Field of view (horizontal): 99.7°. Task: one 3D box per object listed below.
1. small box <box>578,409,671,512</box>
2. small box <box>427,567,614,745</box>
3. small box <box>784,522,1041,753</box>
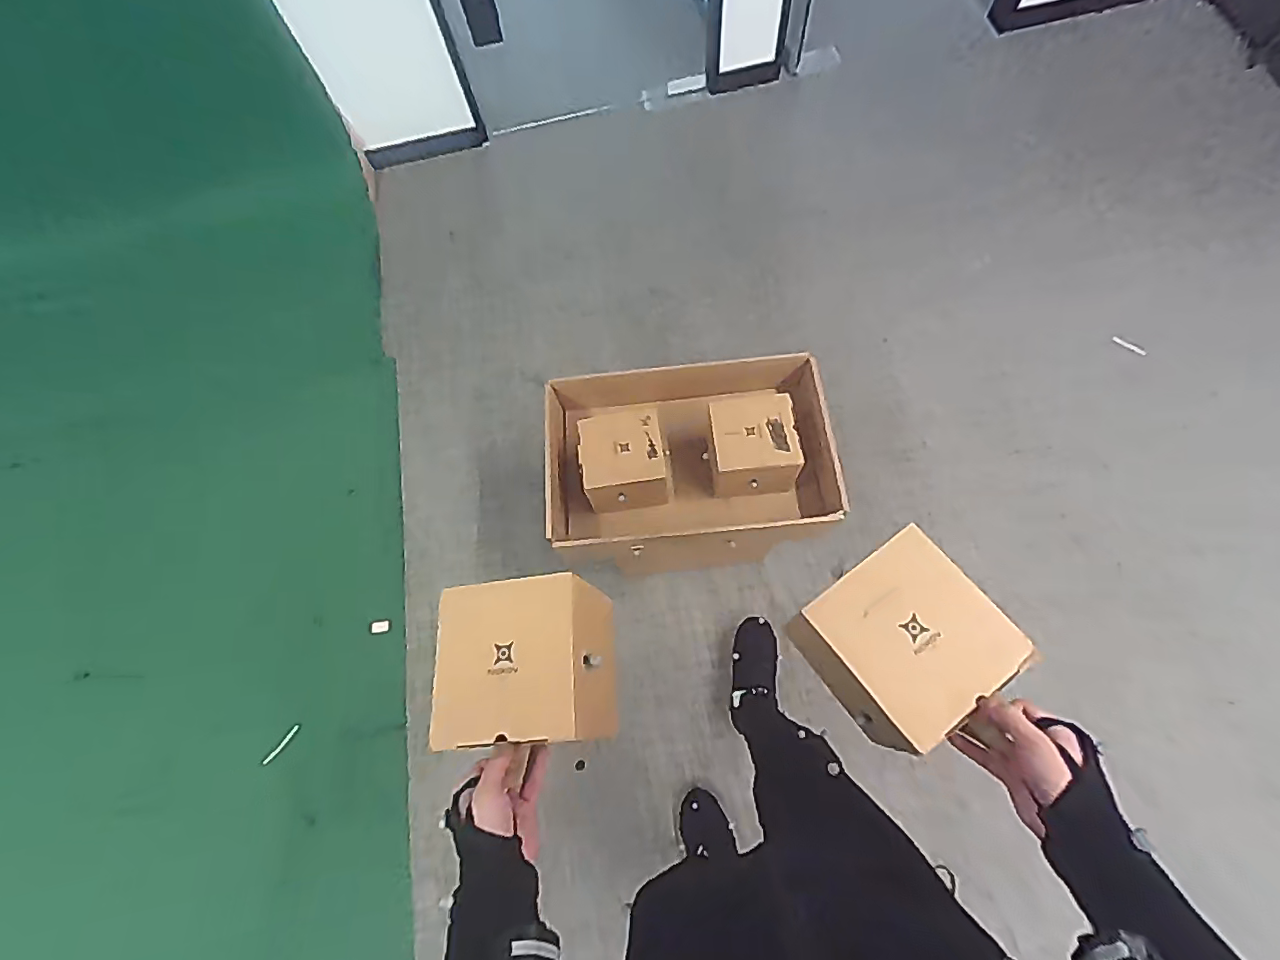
[{"bbox_3d":[-0.031,-0.036,1.198,0.179,0.176,0.168,-8,68,2],"label":"small box"},{"bbox_3d":[-0.131,0.218,0.656,0.168,0.176,0.179,-9,66,9],"label":"small box"},{"bbox_3d":[0.292,0.181,0.627,0.168,0.176,0.179,-34,68,-8],"label":"small box"}]
